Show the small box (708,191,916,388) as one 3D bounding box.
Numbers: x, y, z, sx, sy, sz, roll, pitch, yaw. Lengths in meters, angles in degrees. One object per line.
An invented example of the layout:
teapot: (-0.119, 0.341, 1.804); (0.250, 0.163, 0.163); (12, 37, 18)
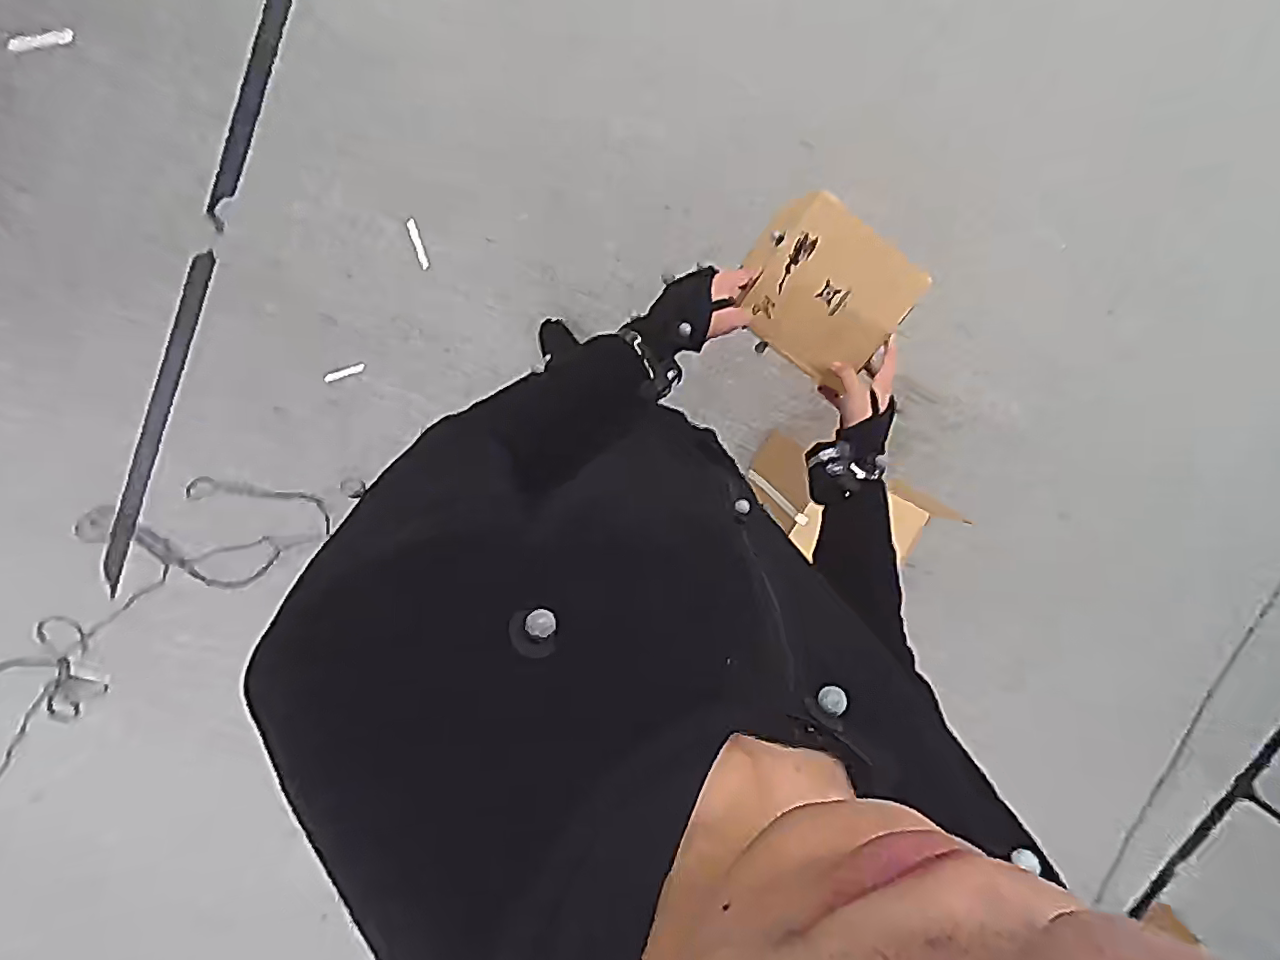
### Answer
small box: (0.213, -0.253, 0.719); (0.179, 0.176, 0.168); (31, 109, -14)
